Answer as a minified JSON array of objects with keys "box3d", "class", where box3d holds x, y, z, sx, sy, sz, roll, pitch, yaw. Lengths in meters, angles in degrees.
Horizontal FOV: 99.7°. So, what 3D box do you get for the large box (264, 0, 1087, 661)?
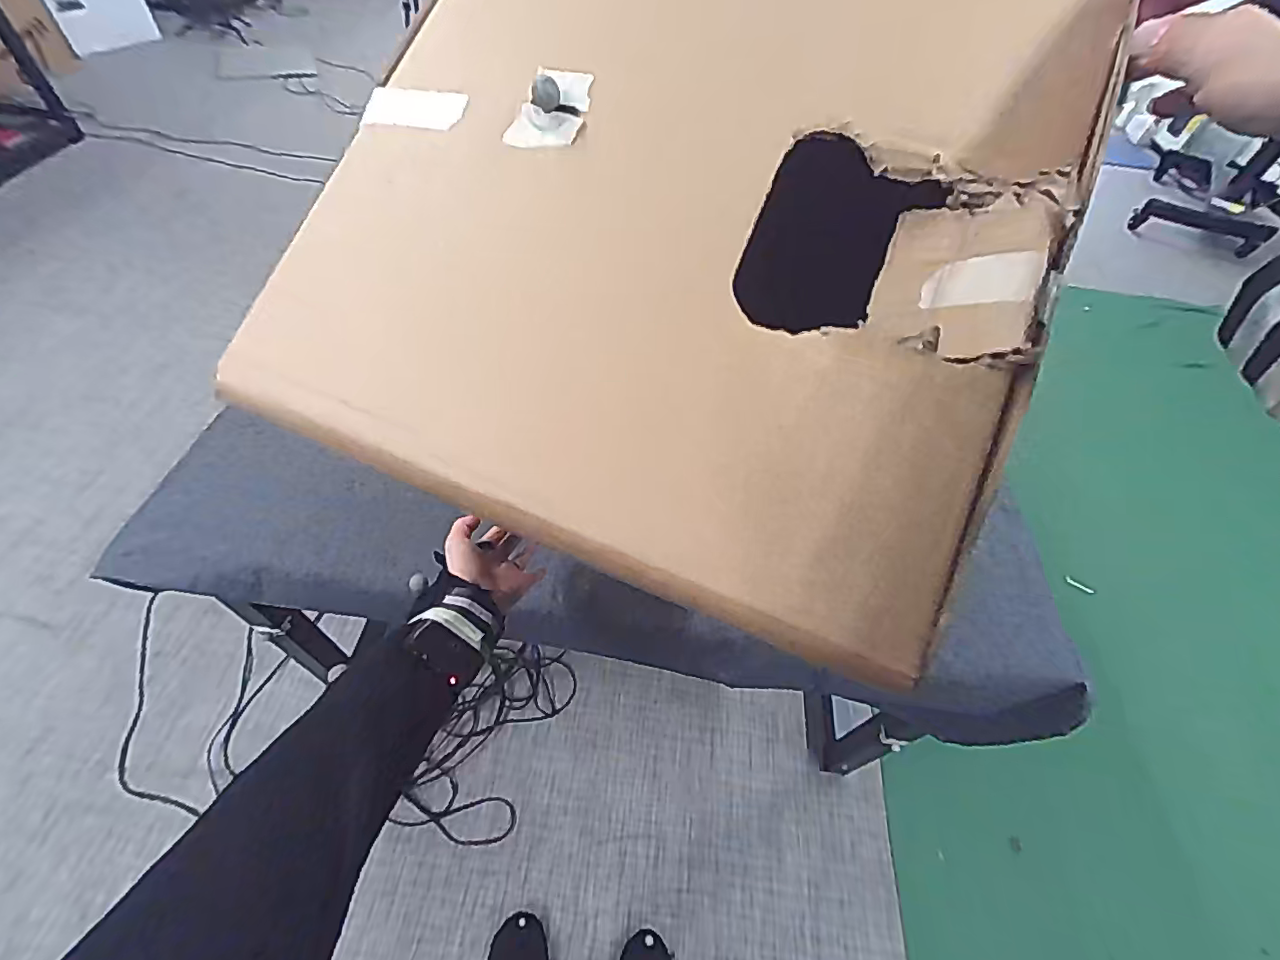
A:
[{"box3d":[0.031,-0.084,0.435,0.320,0.408,0.320,21,81,10],"class":"large box"}]
